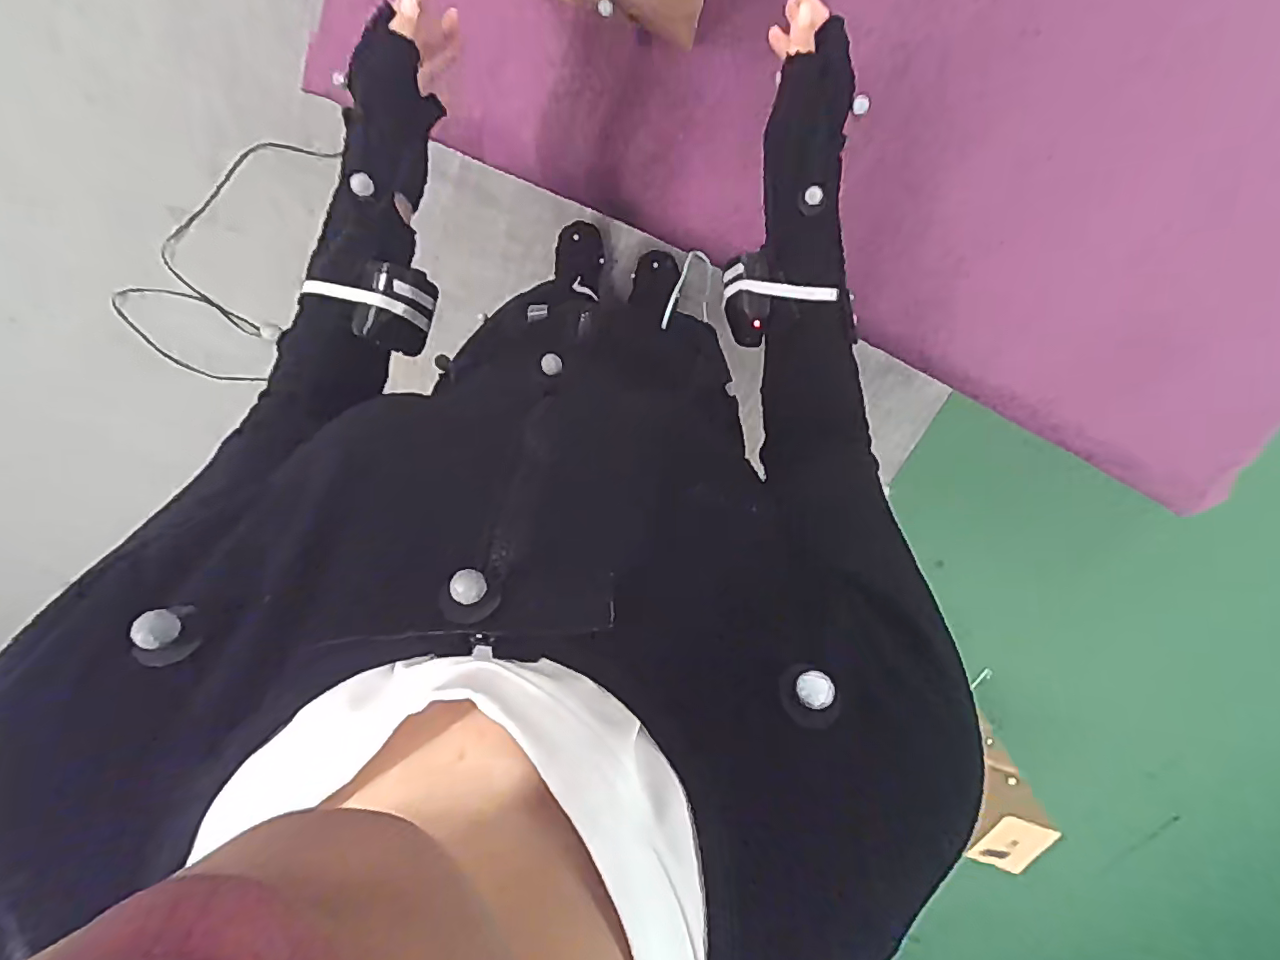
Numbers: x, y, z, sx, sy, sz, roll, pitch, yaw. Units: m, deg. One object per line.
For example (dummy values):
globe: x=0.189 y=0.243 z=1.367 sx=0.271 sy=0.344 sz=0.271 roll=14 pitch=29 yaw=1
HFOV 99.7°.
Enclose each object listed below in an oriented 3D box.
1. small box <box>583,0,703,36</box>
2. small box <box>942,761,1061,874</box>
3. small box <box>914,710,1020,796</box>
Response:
small box: x=-0.002 y=-0.513 z=0.435 sx=0.168 sy=0.176 sz=0.179 roll=17 pitch=113 yaw=-4
small box: x=0.941 y=0.890 z=1.433 sx=0.168 sy=0.176 sz=0.179 roll=24 pitch=114 yaw=-9
small box: x=0.943 y=0.813 z=1.582 sx=0.168 sy=0.176 sz=0.179 roll=23 pitch=114 yaw=-6
